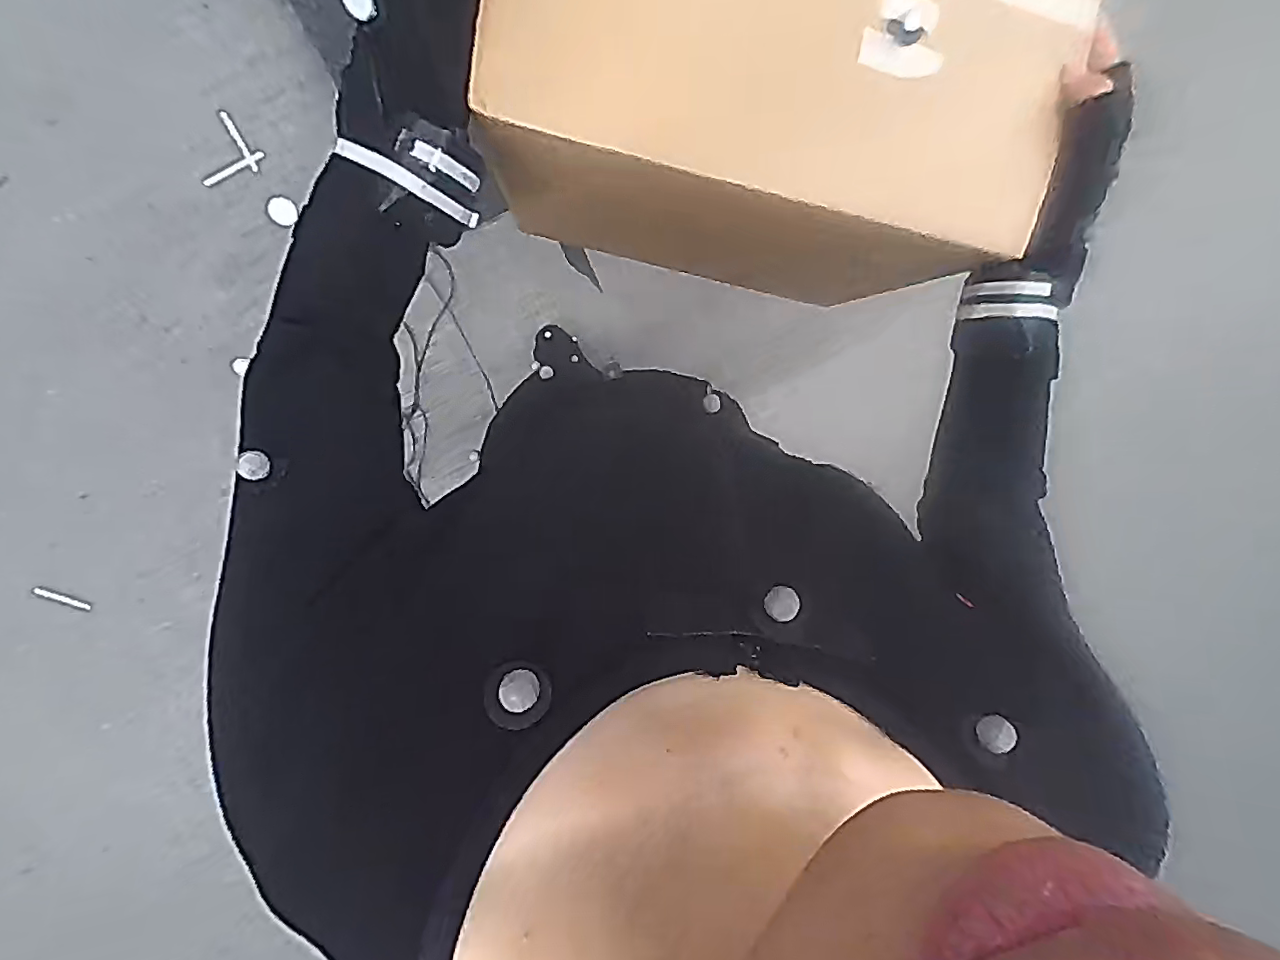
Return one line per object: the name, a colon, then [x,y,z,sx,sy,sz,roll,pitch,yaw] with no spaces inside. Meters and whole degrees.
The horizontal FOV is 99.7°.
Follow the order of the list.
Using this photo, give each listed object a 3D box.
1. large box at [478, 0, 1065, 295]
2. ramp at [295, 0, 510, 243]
large box: [0.089,-0.387,0.506,0.408,0.320,0.320,9,100,-9]
ramp: [-0.500,-1.101,1.150,0.509,0.206,0.991,-28,102,0]
